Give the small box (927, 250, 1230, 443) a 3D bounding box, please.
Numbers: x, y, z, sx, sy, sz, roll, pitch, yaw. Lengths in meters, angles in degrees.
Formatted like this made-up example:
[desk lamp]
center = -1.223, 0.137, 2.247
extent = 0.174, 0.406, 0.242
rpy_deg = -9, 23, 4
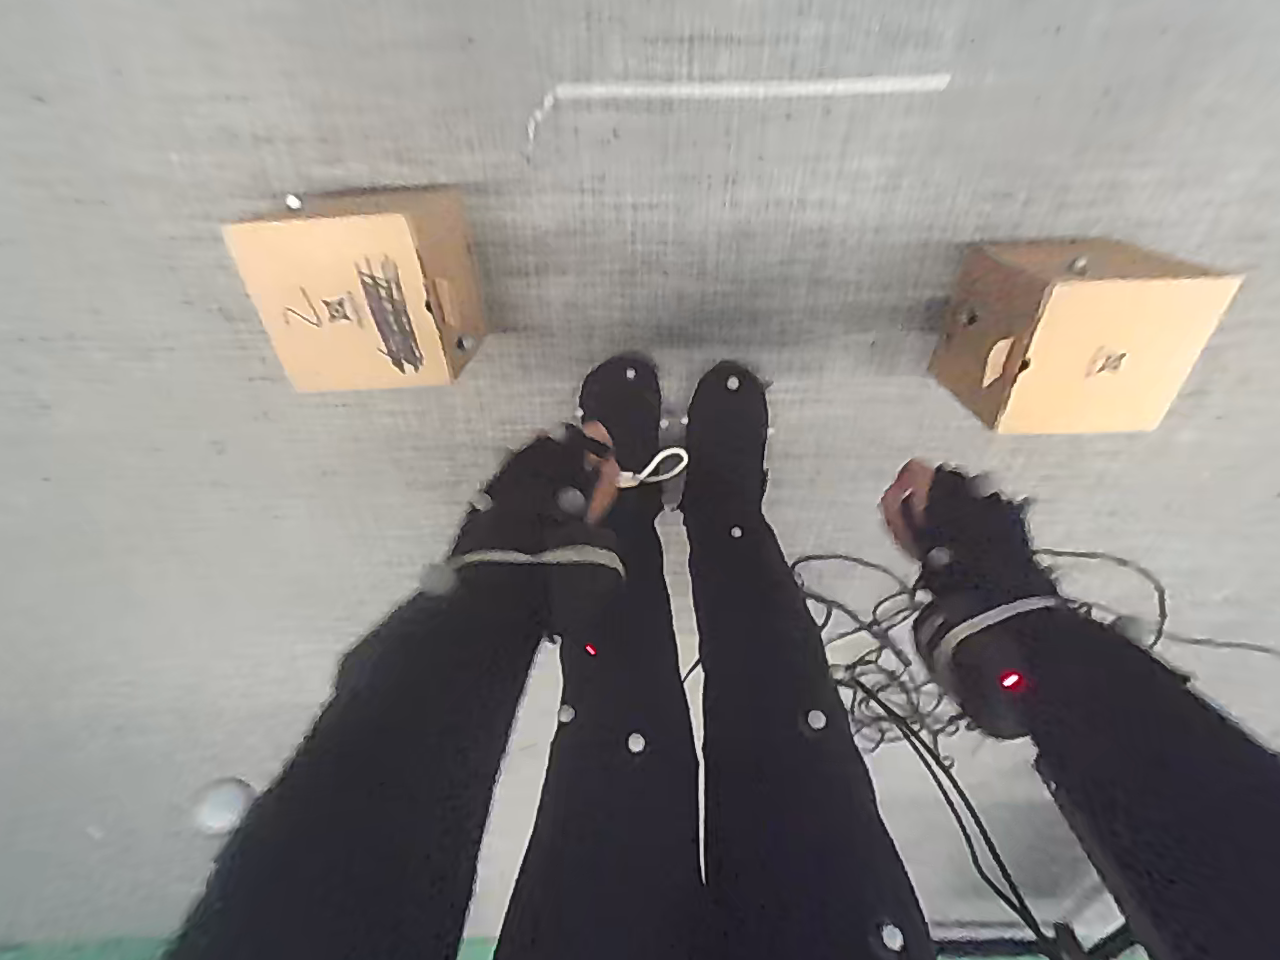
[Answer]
[small box]
center = 0.466, -0.156, 0.614
extent = 0.179, 0.176, 0.168
rpy_deg = -1, 125, 2
